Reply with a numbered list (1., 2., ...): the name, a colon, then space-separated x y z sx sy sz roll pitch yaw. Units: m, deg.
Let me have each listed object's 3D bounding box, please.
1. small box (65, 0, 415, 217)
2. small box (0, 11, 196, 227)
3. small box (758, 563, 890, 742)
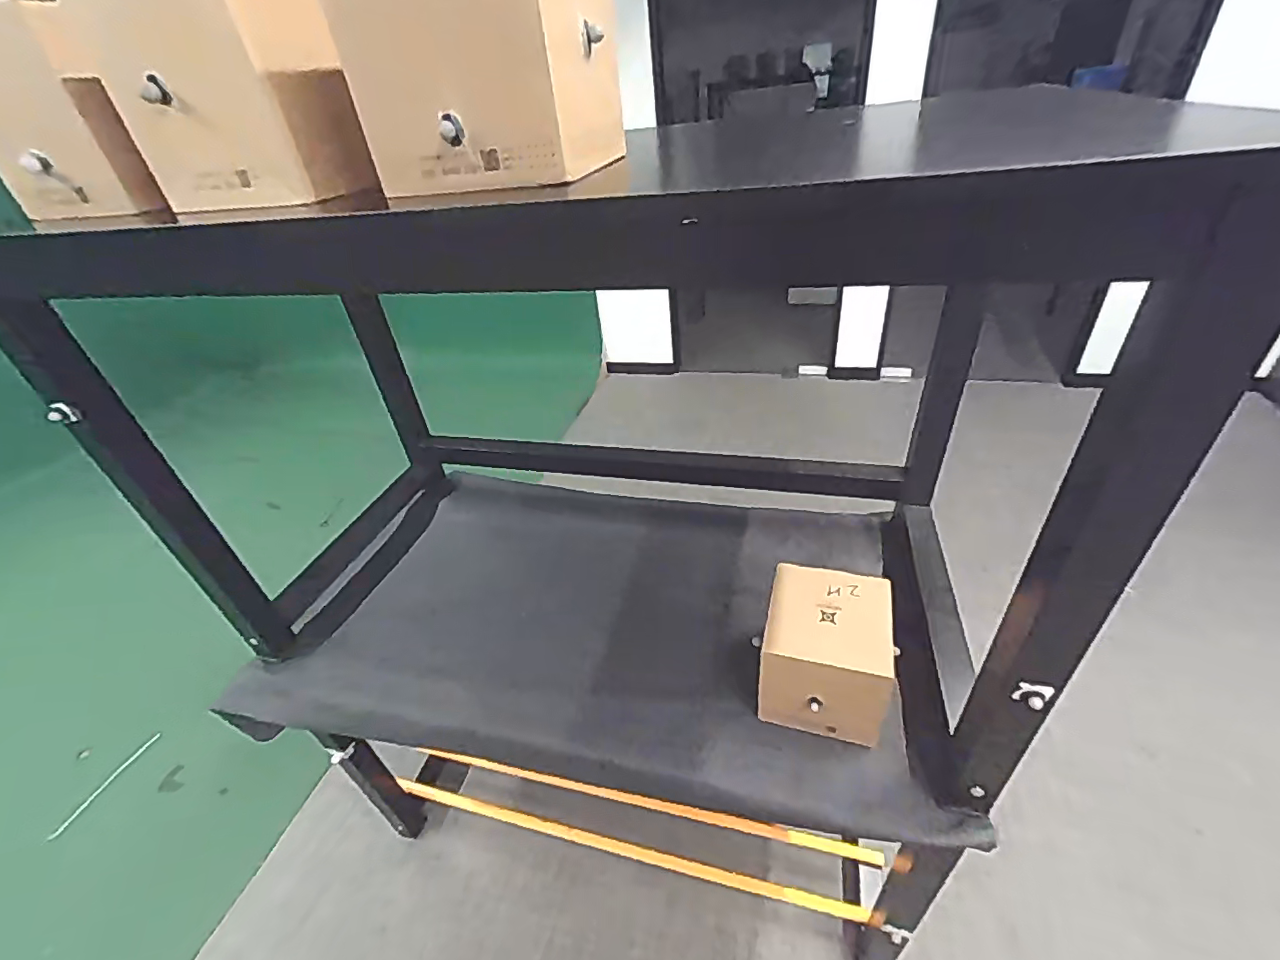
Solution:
1. small box: -0.349 -0.355 0.515 0.168 0.176 0.179 5 37 17
2. small box: -0.560 -0.384 0.588 0.168 0.176 0.179 5 38 17
3. small box: 0.273 0.255 0.808 0.168 0.176 0.179 7 37 19
